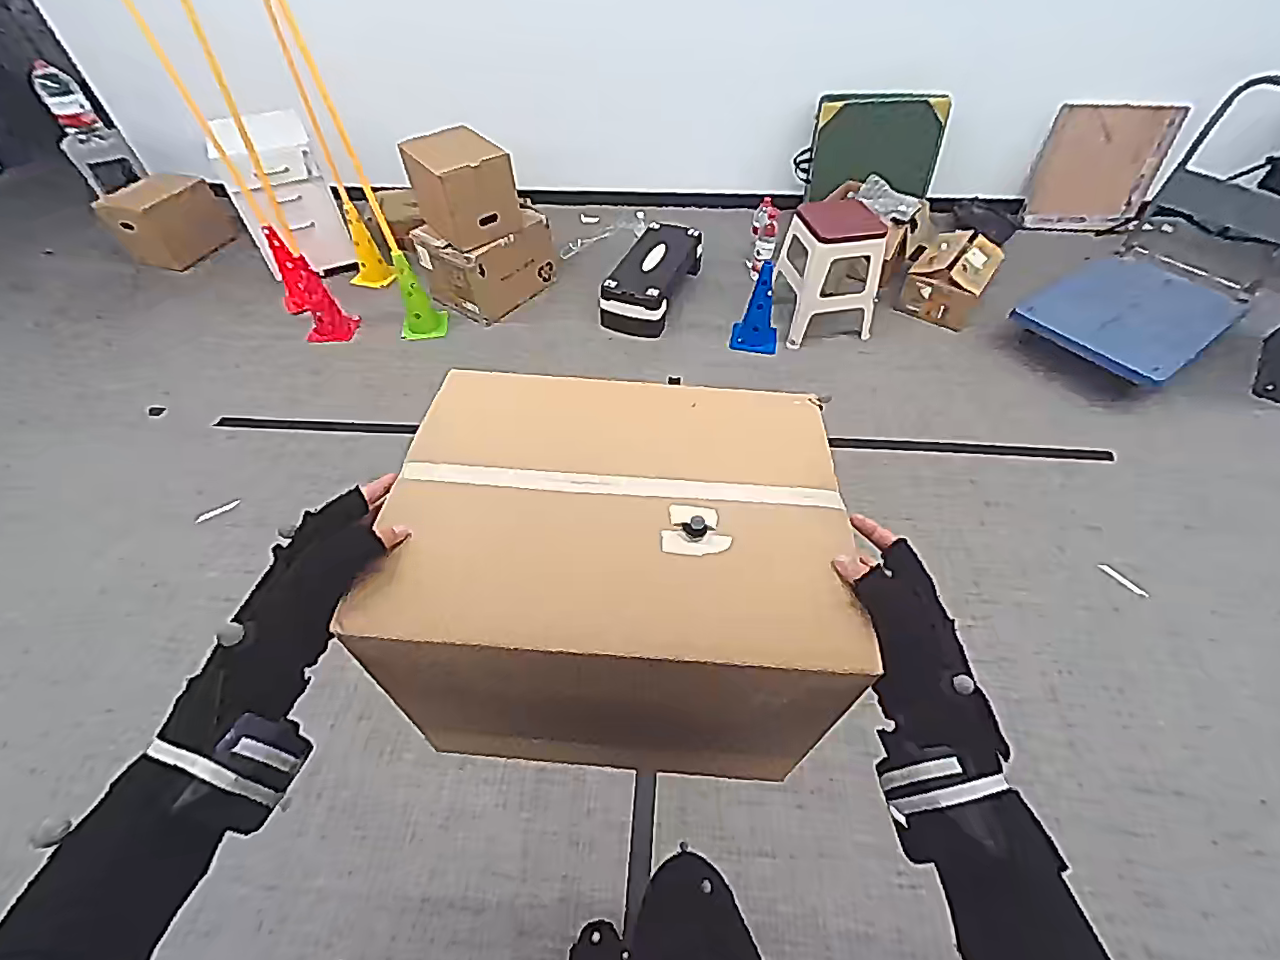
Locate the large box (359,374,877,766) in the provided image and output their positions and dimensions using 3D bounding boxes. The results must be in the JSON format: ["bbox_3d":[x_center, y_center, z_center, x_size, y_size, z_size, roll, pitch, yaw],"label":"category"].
[{"bbox_3d":[-0.018,0.107,0.615,0.408,0.320,0.320,5,49,0],"label":"large box"}]
